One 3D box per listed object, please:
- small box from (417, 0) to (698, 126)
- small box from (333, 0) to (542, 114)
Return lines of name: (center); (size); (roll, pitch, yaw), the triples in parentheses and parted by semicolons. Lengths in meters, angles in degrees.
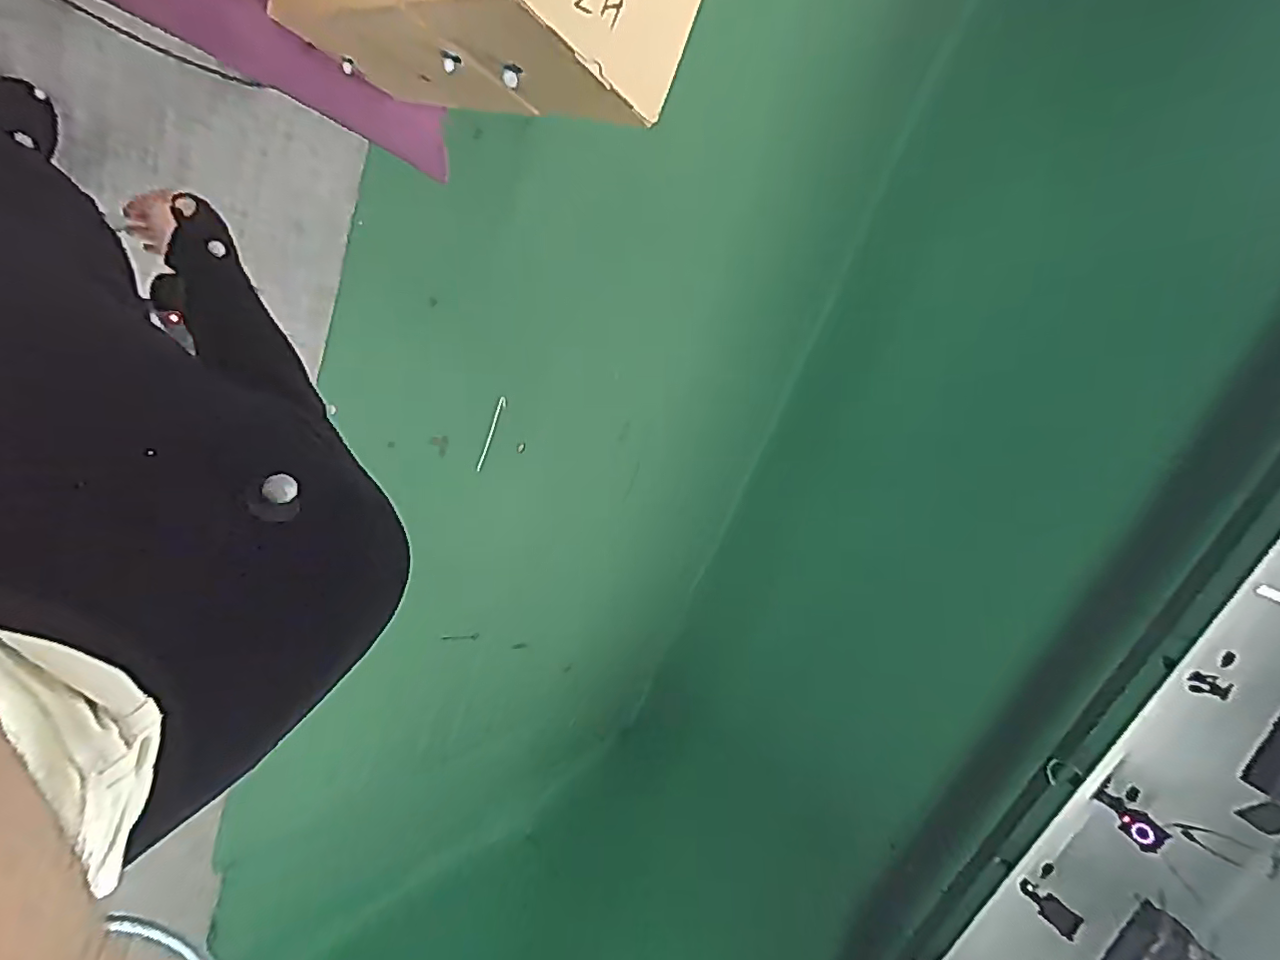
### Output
small box: (-0.064, -0.442, 0.456); (0.168, 0.176, 0.179); (4, 114, -53)
small box: (-0.182, -0.512, 0.547); (0.168, 0.176, 0.179); (5, 112, -53)
